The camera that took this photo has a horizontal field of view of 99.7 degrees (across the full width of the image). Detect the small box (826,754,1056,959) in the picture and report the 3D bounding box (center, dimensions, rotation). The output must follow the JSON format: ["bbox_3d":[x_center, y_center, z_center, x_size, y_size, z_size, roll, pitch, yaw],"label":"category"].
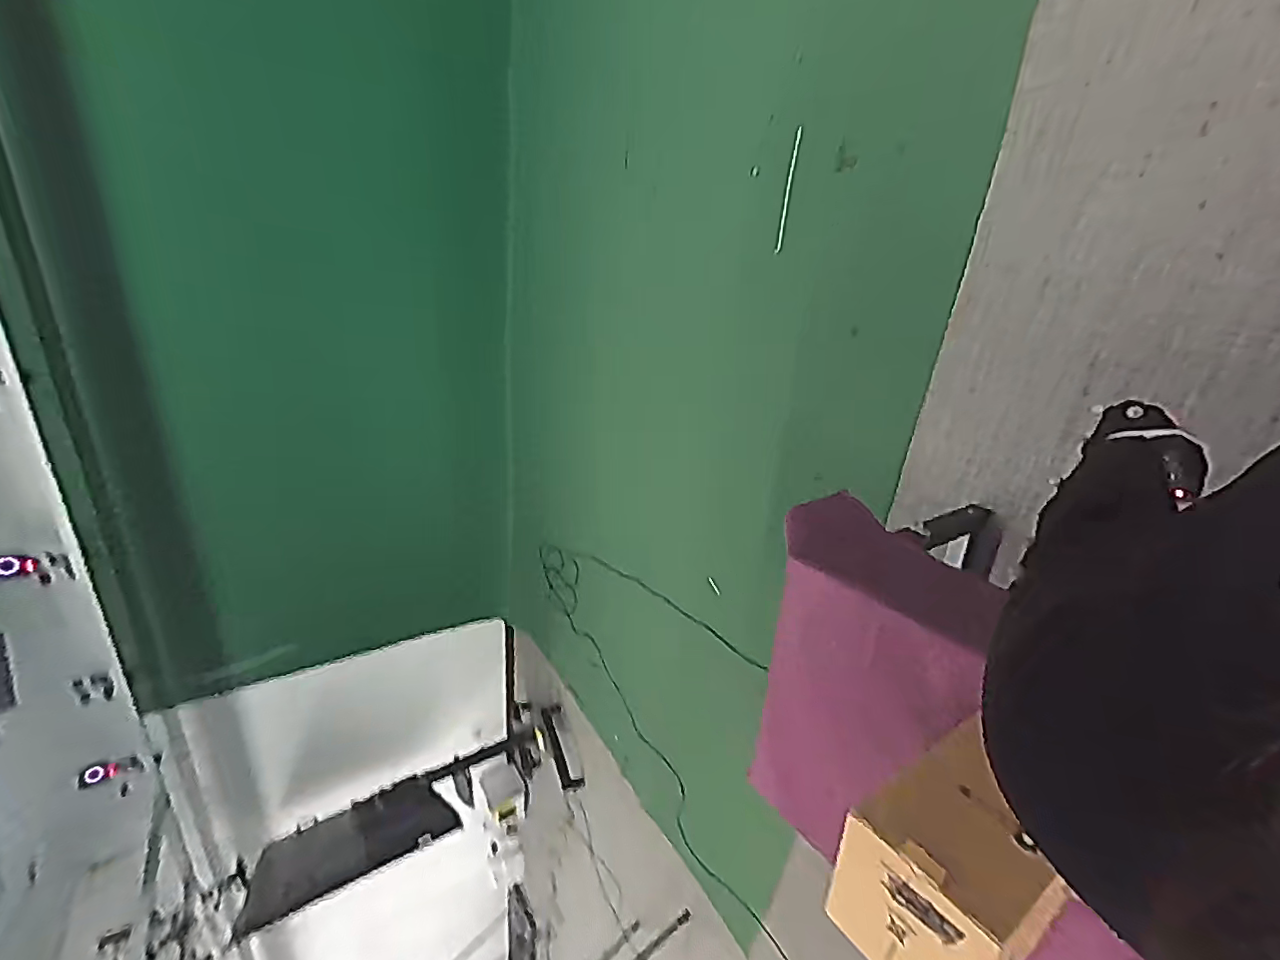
[{"bbox_3d":[0.354,0.471,0.642,0.168,0.176,0.179,28,122,50],"label":"small box"}]

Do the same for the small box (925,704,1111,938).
[{"bbox_3d":[0.490,0.447,0.731,0.168,0.176,0.179,28,122,49],"label":"small box"}]
